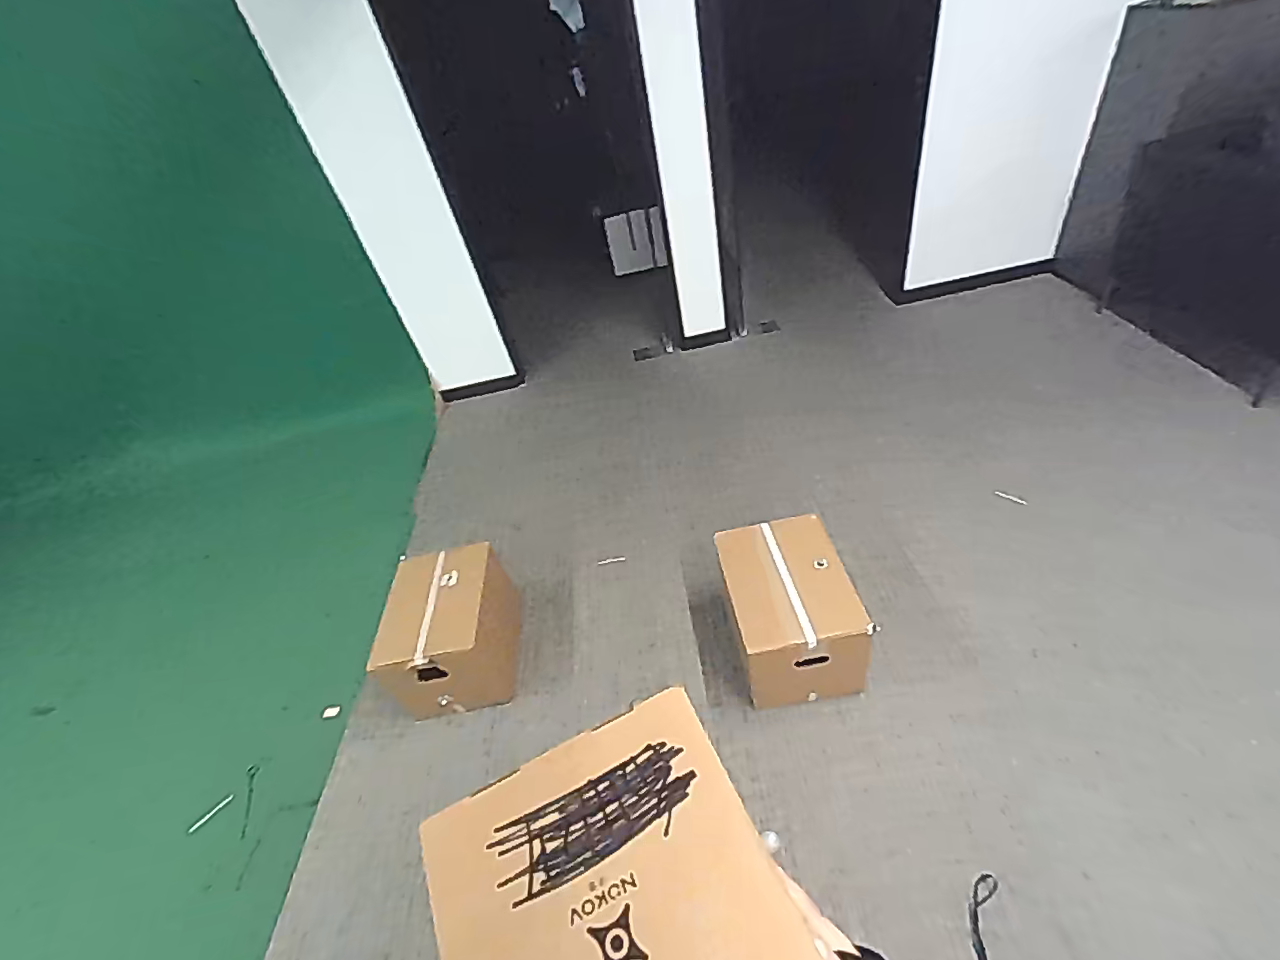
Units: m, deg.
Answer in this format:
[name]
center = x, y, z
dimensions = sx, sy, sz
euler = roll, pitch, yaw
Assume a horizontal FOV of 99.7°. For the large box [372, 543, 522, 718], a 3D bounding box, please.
[large box]
center = -0.584, 0.477, 1.727
dimensions = 0.320, 0.320, 0.408
euler = -13, 40, 4
